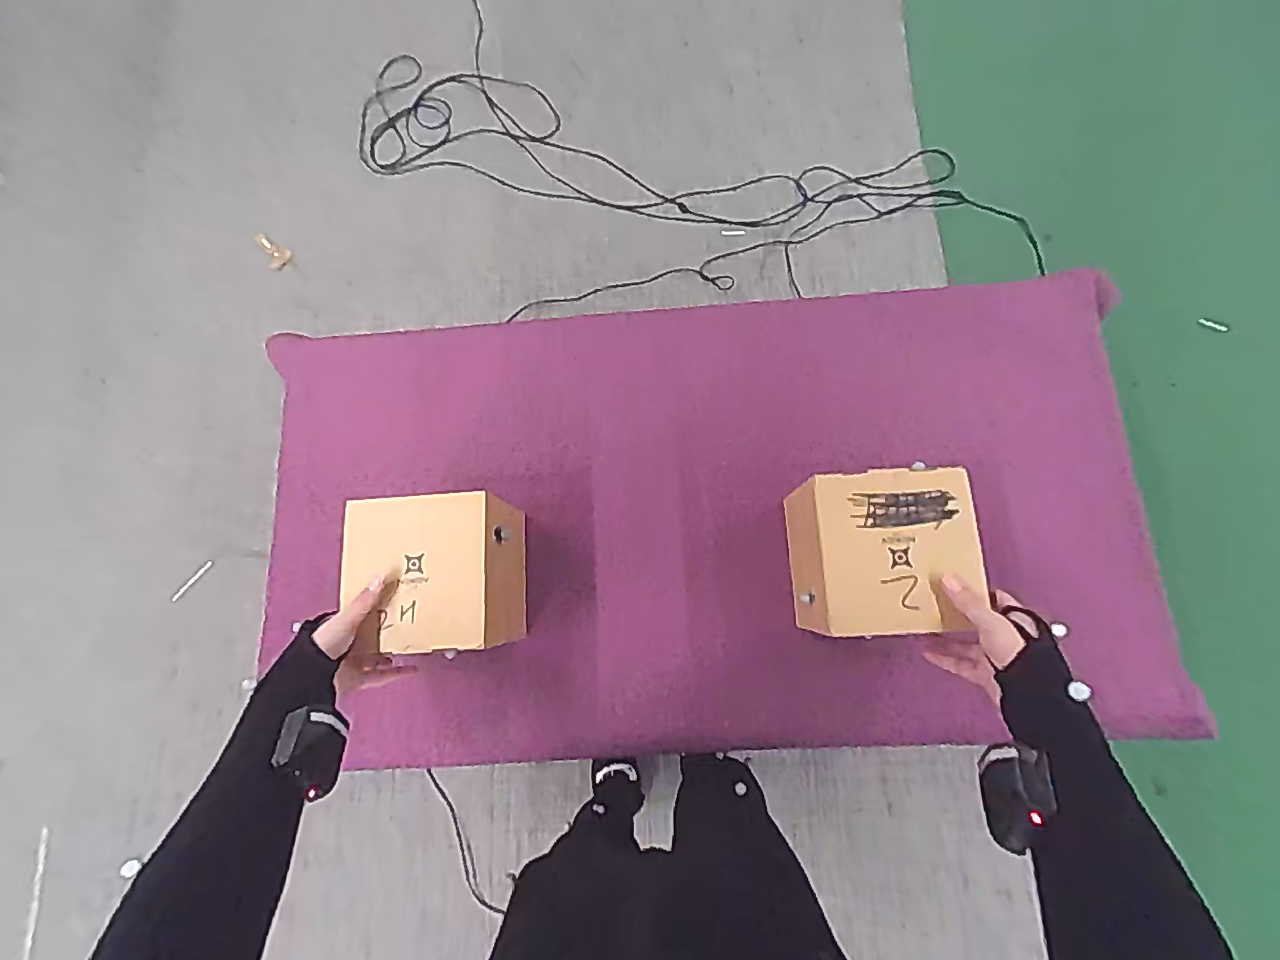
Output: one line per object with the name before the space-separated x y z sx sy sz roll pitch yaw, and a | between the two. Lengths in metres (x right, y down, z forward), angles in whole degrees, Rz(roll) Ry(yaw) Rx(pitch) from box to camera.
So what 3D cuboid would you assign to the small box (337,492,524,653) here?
small box | -0.249 0.120 0.685 0.168 0.176 0.179 -4 77 3
